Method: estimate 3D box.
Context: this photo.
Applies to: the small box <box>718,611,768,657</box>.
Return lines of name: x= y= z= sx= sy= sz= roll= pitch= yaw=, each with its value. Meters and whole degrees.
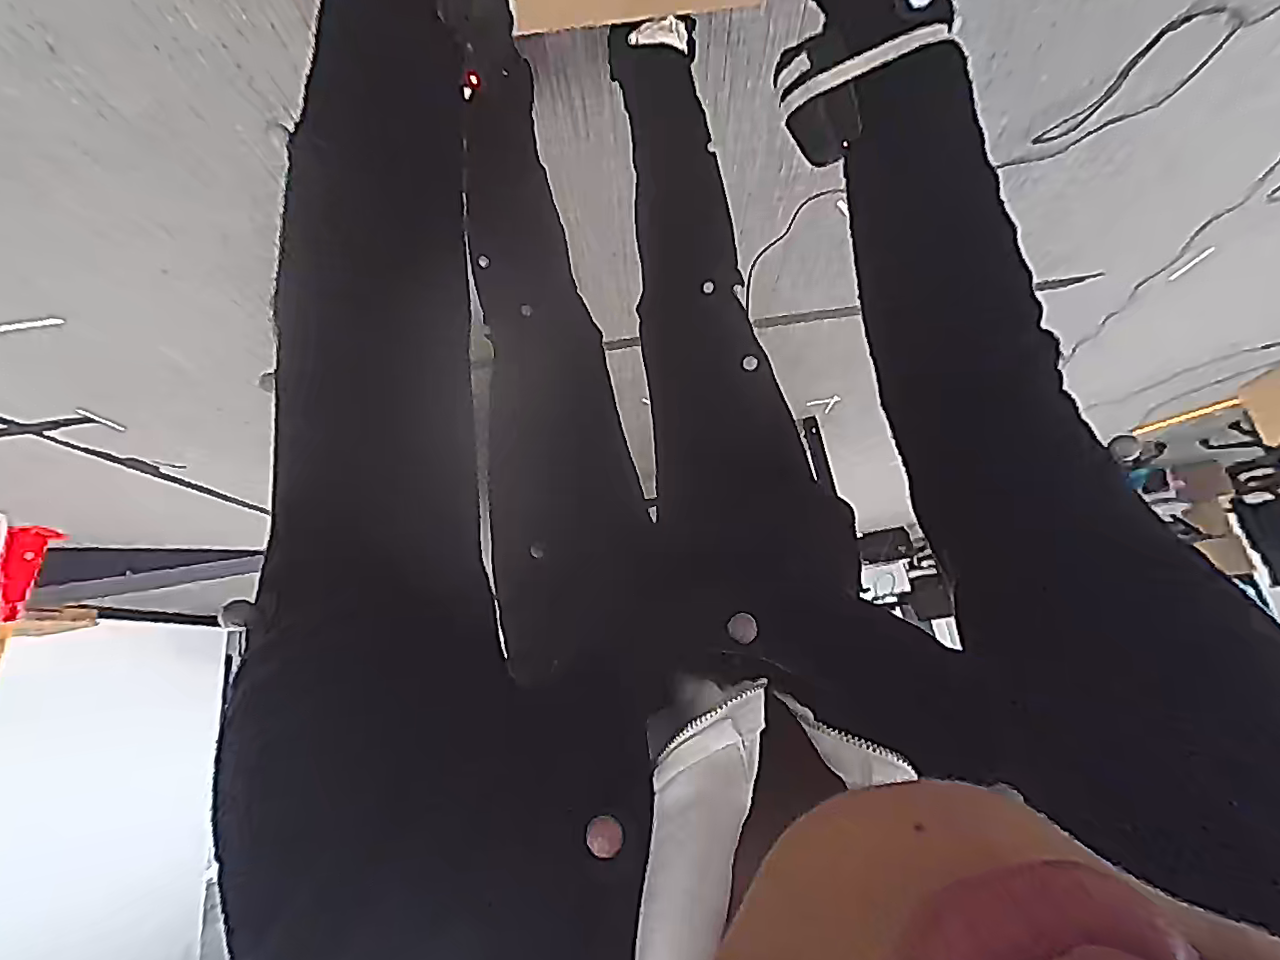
small box: x=0.432 y=0.654 z=2.297 sx=0.168 sy=0.176 sz=0.179 roll=-10 pitch=161 yaw=0
